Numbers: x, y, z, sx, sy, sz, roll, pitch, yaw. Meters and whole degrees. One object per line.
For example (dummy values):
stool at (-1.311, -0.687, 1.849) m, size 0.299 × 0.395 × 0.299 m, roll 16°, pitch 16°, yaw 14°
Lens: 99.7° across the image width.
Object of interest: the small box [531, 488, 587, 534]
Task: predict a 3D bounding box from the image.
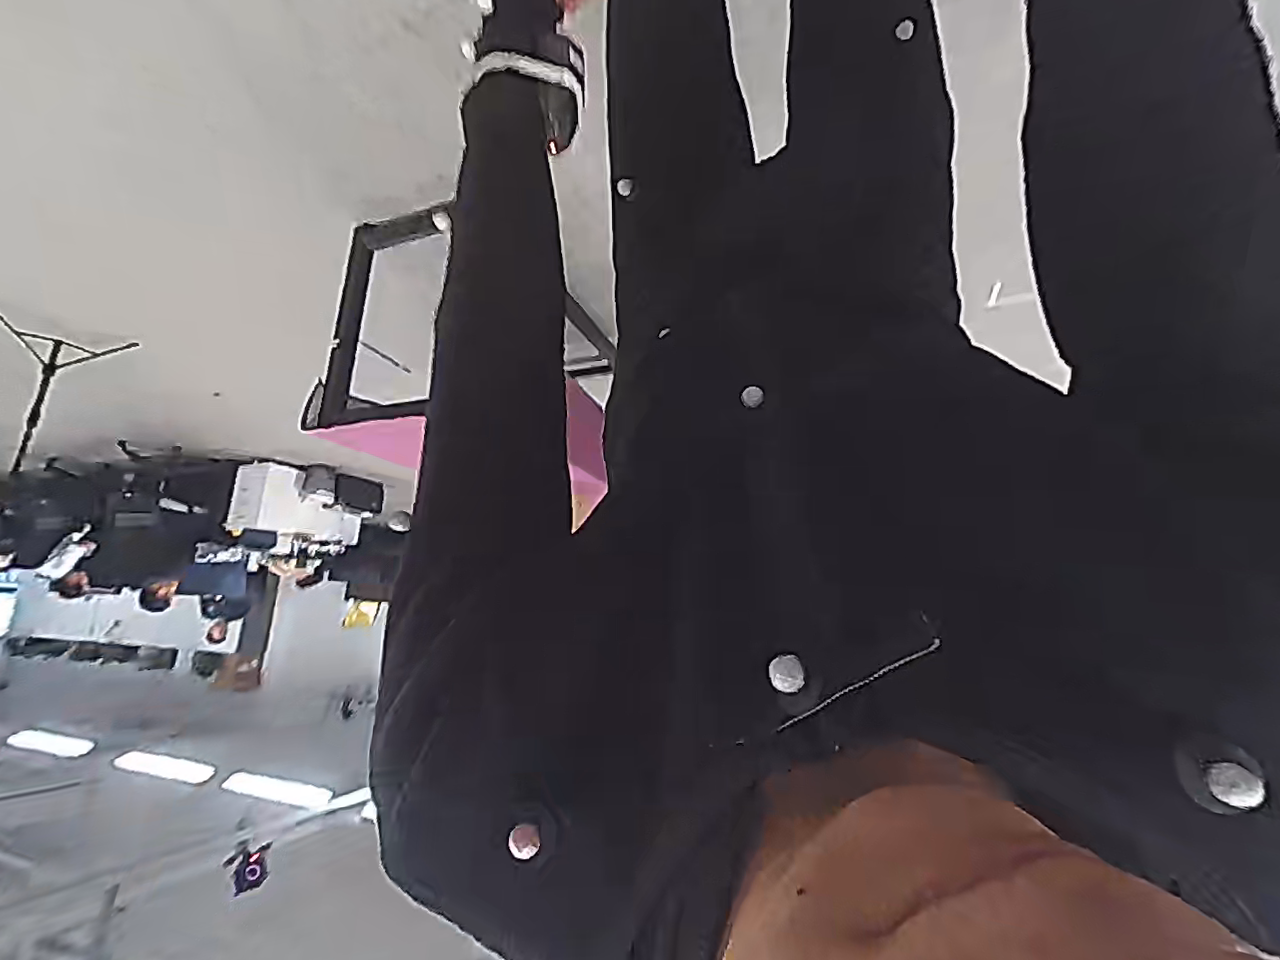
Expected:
small box at (-0.340, 0.134, 2.304) m, size 0.179 × 0.176 × 0.168 m, roll -5°, pitch 165°, yaw 24°
